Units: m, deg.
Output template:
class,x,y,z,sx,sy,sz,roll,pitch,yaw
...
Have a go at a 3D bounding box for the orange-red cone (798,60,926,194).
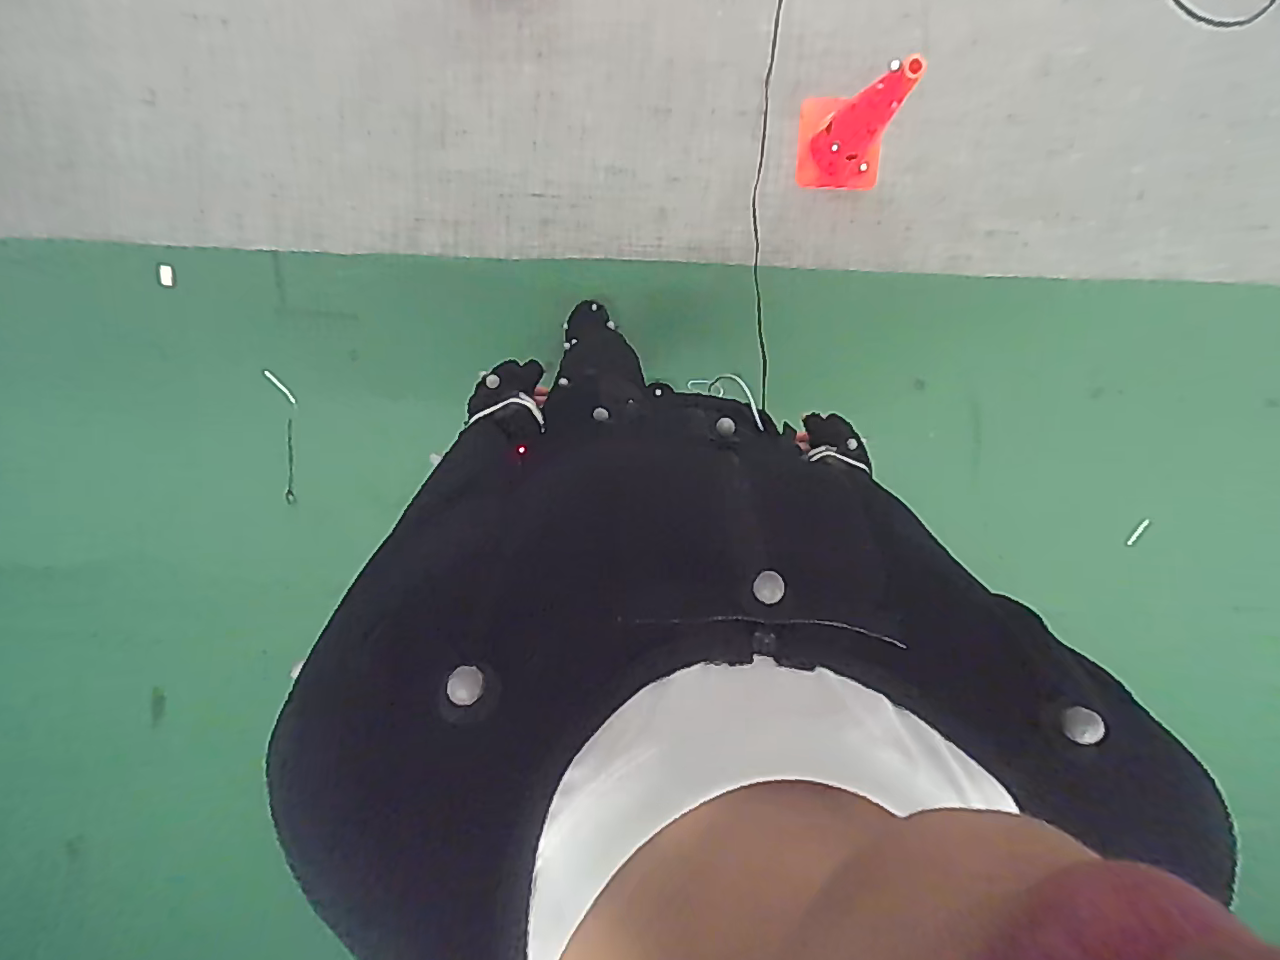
class,x,y,z,sx,sy,sz,roll,pitch,yaw
orange-red cone,0.494,-0.779,1.153,0.198,0.360,0.199,2,100,-2
